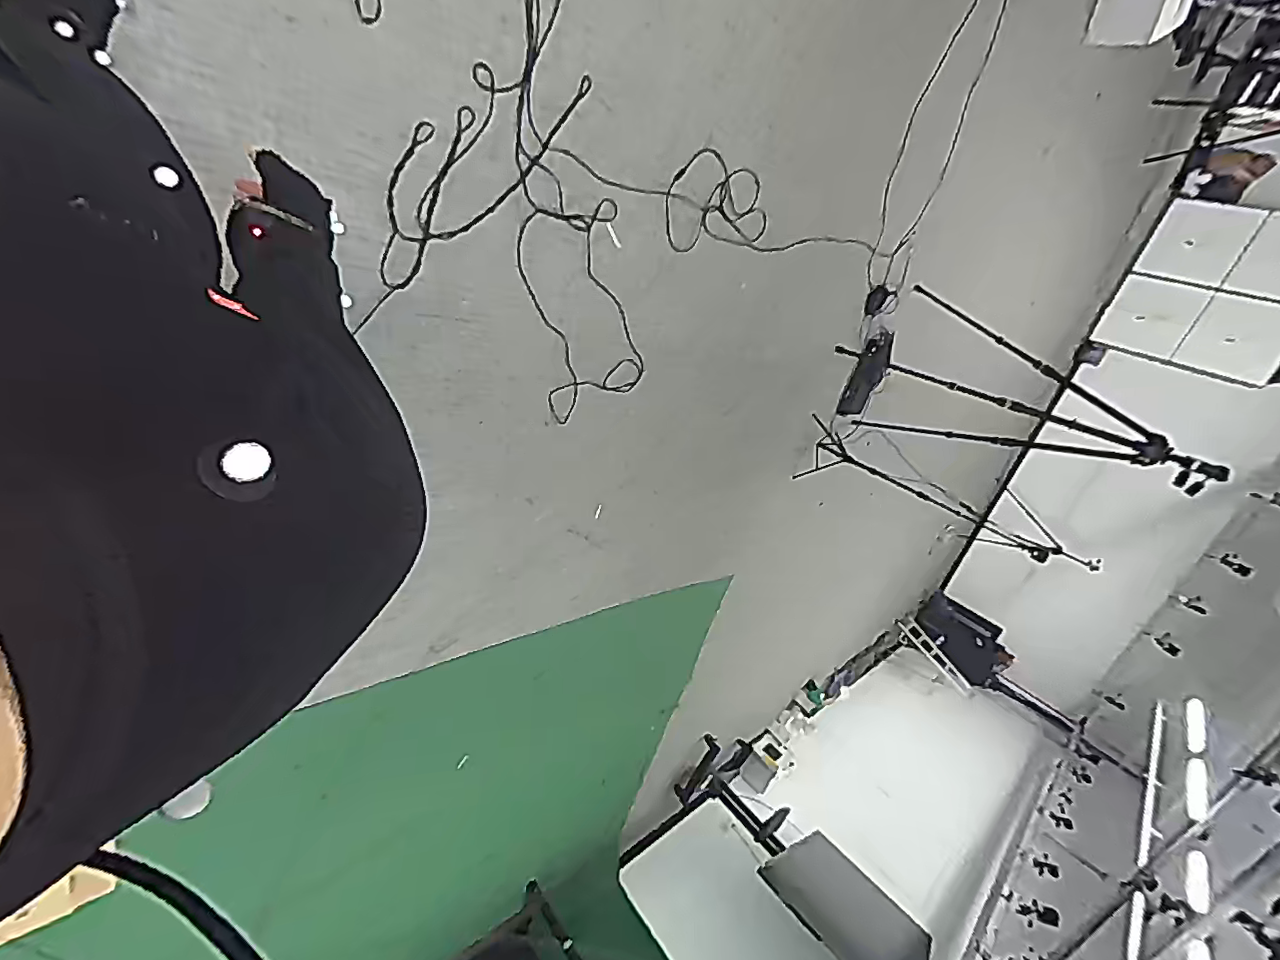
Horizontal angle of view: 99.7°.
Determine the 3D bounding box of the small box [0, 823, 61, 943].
[{"bbox_3d":[-1.559,1.005,1.338,0.168,0.176,0.179,-6,121,-47],"label":"small box"}]
